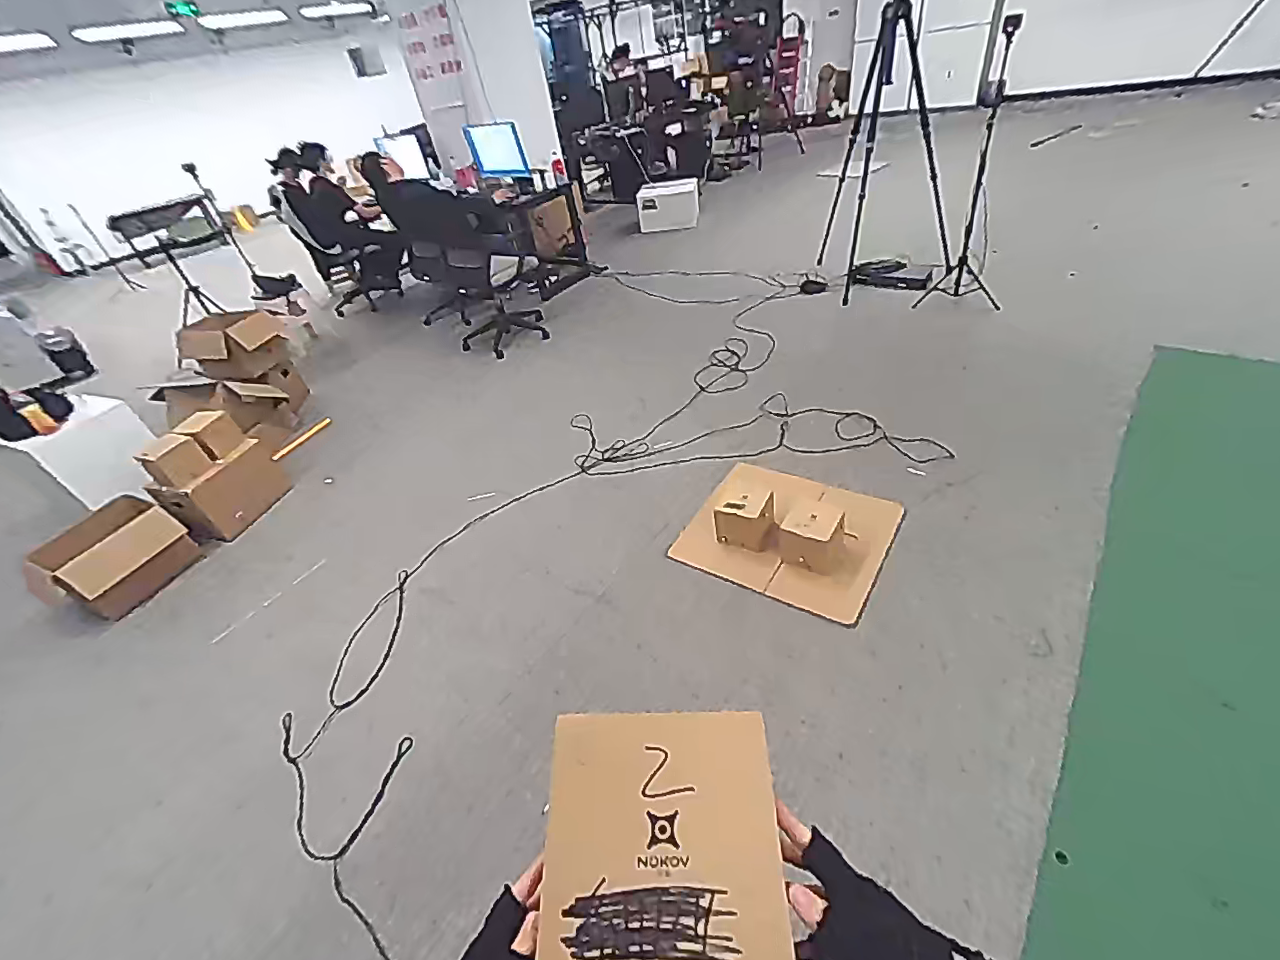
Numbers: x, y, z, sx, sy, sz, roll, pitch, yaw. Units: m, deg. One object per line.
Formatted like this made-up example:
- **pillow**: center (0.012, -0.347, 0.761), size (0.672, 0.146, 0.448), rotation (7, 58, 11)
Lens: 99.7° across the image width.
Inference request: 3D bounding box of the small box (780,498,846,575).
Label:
- **small box**: center (0.595, 0.195, 1.868), size (0.168, 0.176, 0.179), rotation (16, 47, 33)

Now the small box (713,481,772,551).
- **small box**: center (0.386, 0.134, 1.994), size (0.168, 0.176, 0.179), rotation (13, 44, 29)
